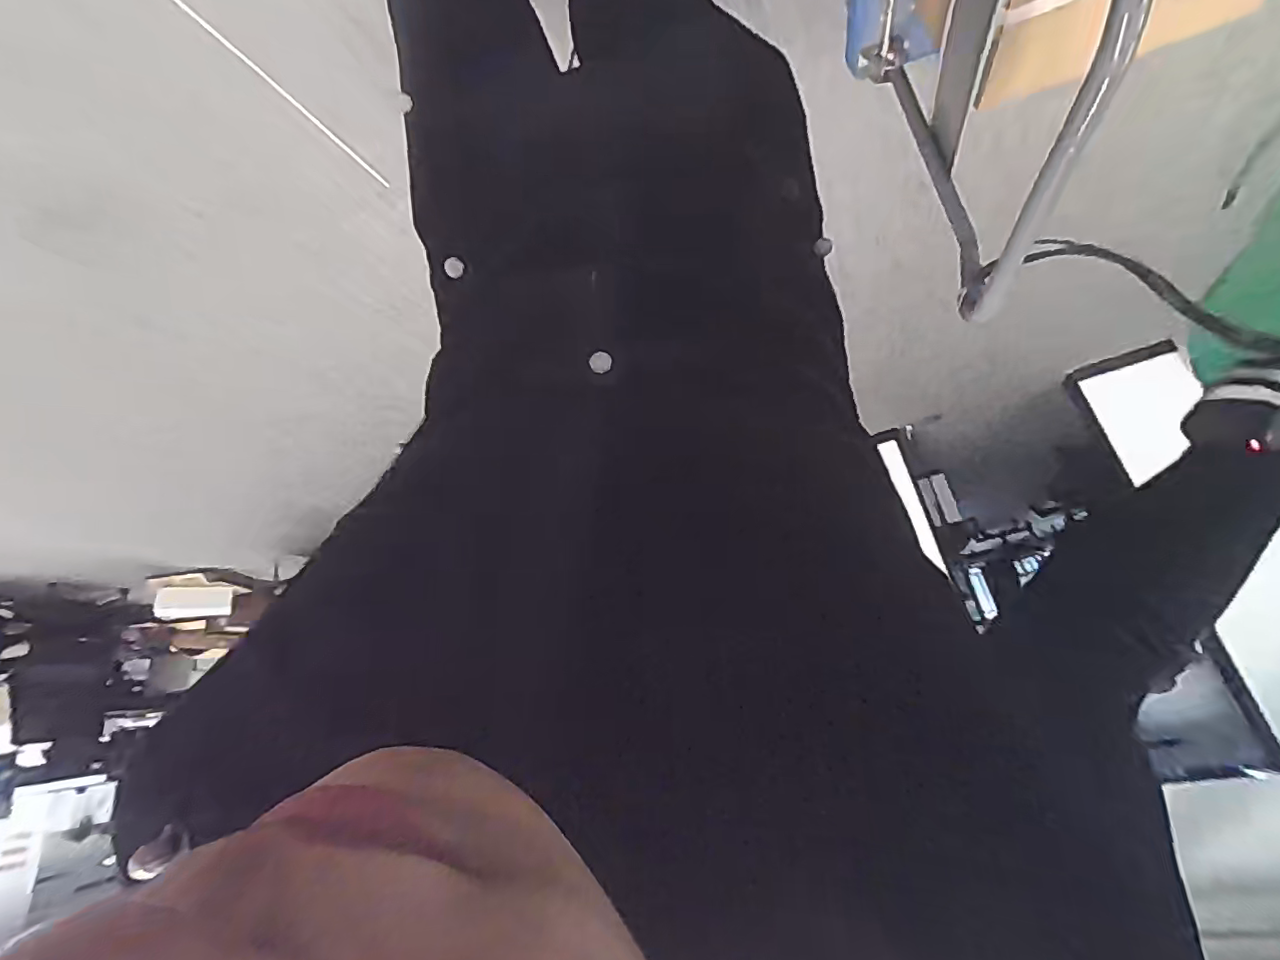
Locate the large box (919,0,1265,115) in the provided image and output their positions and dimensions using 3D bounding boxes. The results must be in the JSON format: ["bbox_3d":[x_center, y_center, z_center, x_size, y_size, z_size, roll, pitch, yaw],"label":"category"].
[{"bbox_3d":[0.689,-0.849,0.791,0.408,0.320,0.320,-15,158,12],"label":"large box"}]
